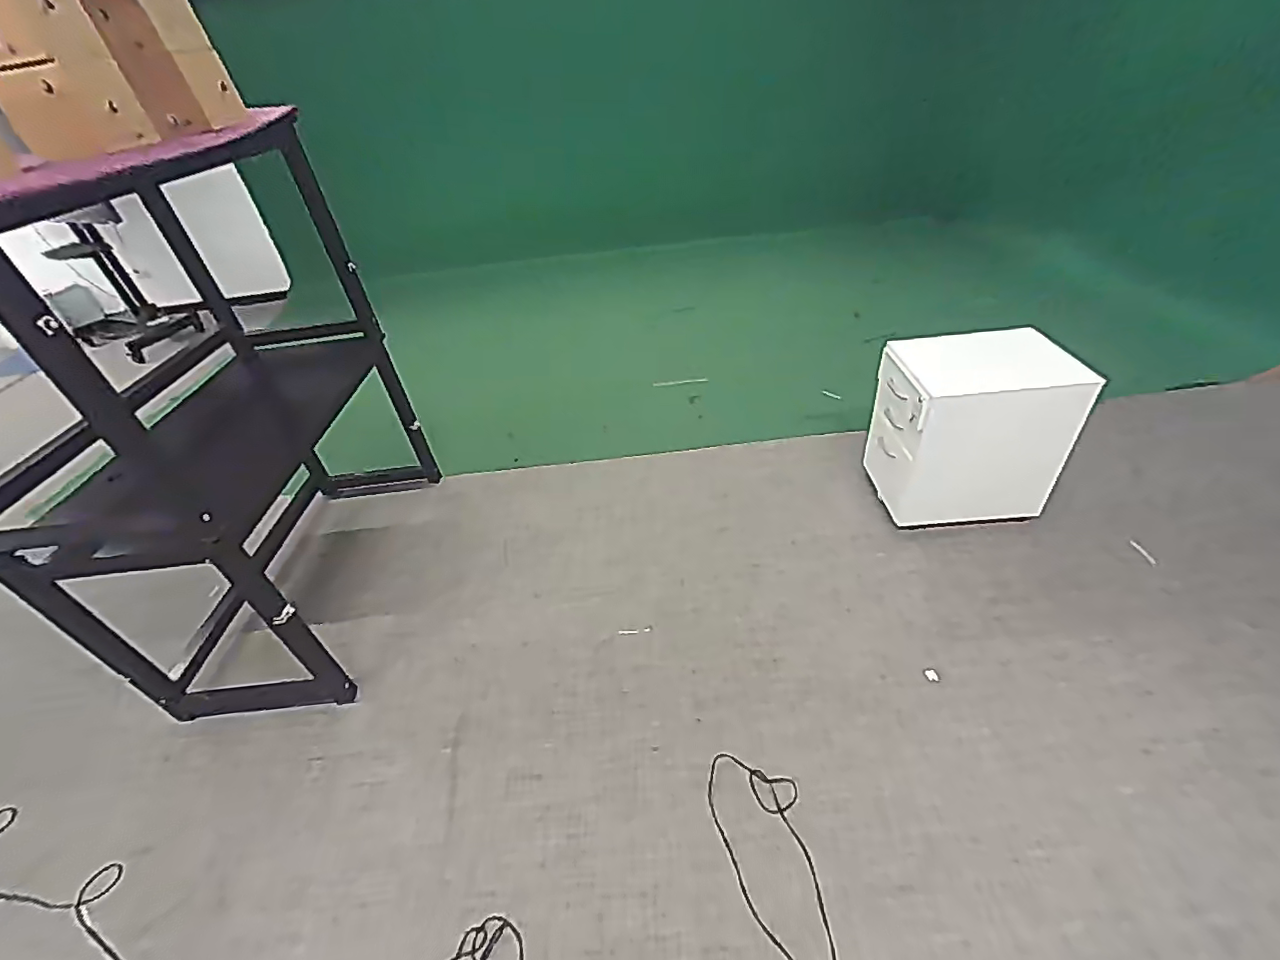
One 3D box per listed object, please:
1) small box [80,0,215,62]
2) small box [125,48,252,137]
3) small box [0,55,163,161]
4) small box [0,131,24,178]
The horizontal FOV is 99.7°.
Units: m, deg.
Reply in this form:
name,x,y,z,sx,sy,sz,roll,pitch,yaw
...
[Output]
name,x,y,z,sx,sy,sz,roll,pitch,yaw
small box,-1.242,-1.172,1.367,0.168,0.176,0.179,-3,40,10
small box,-1.211,-1.052,1.472,0.168,0.176,0.179,-5,41,8
small box,-1.238,-0.828,1.204,0.179,0.176,0.168,-6,38,3
small box,-1.198,-0.571,0.878,0.168,0.176,0.179,-9,39,-3
